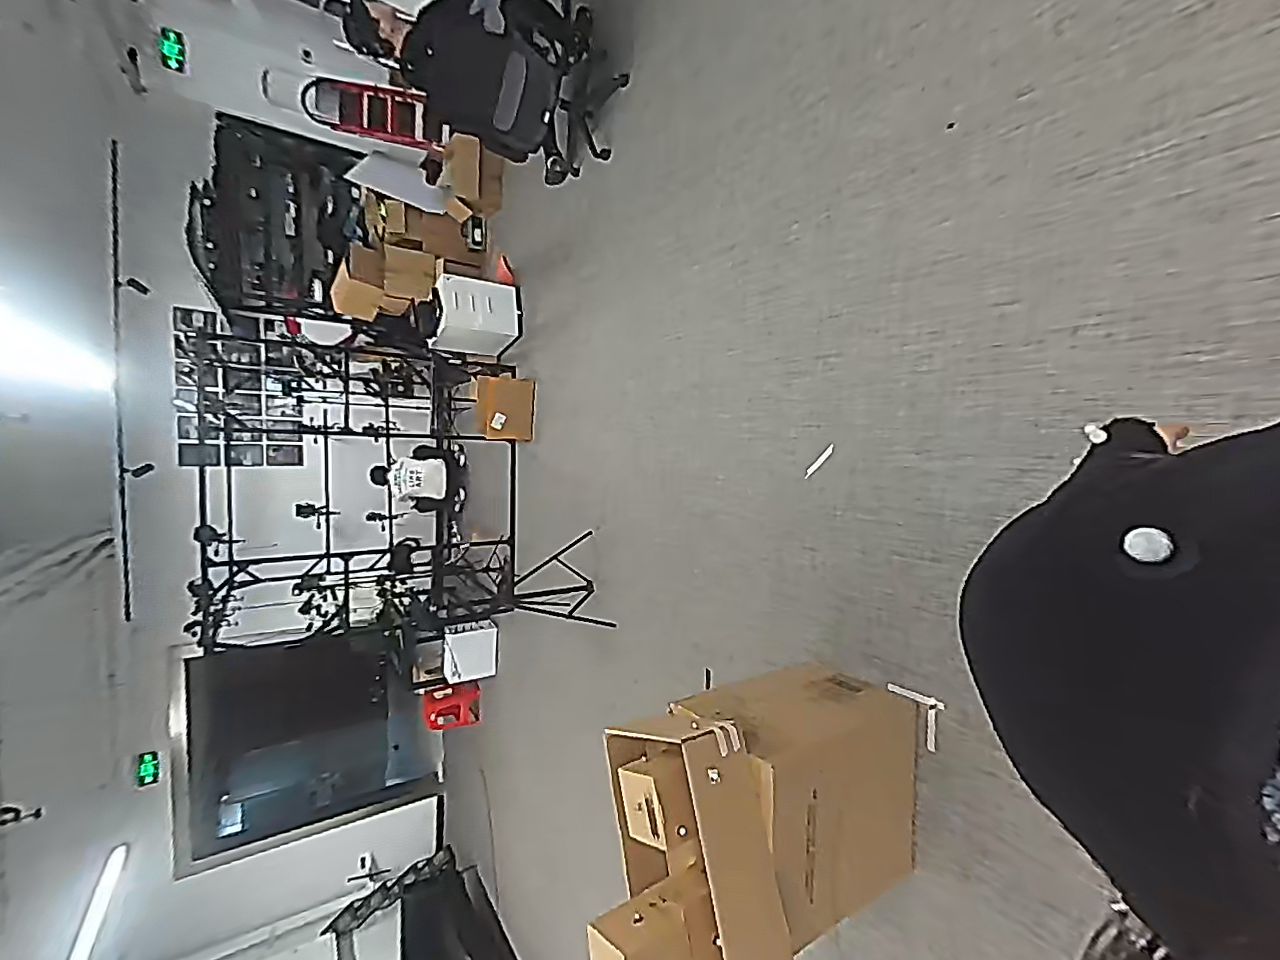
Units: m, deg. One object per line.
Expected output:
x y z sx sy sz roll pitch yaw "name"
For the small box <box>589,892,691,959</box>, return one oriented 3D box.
0.006 1.080 1.217 0.168 0.176 0.179 -23 73 54 "small box"
